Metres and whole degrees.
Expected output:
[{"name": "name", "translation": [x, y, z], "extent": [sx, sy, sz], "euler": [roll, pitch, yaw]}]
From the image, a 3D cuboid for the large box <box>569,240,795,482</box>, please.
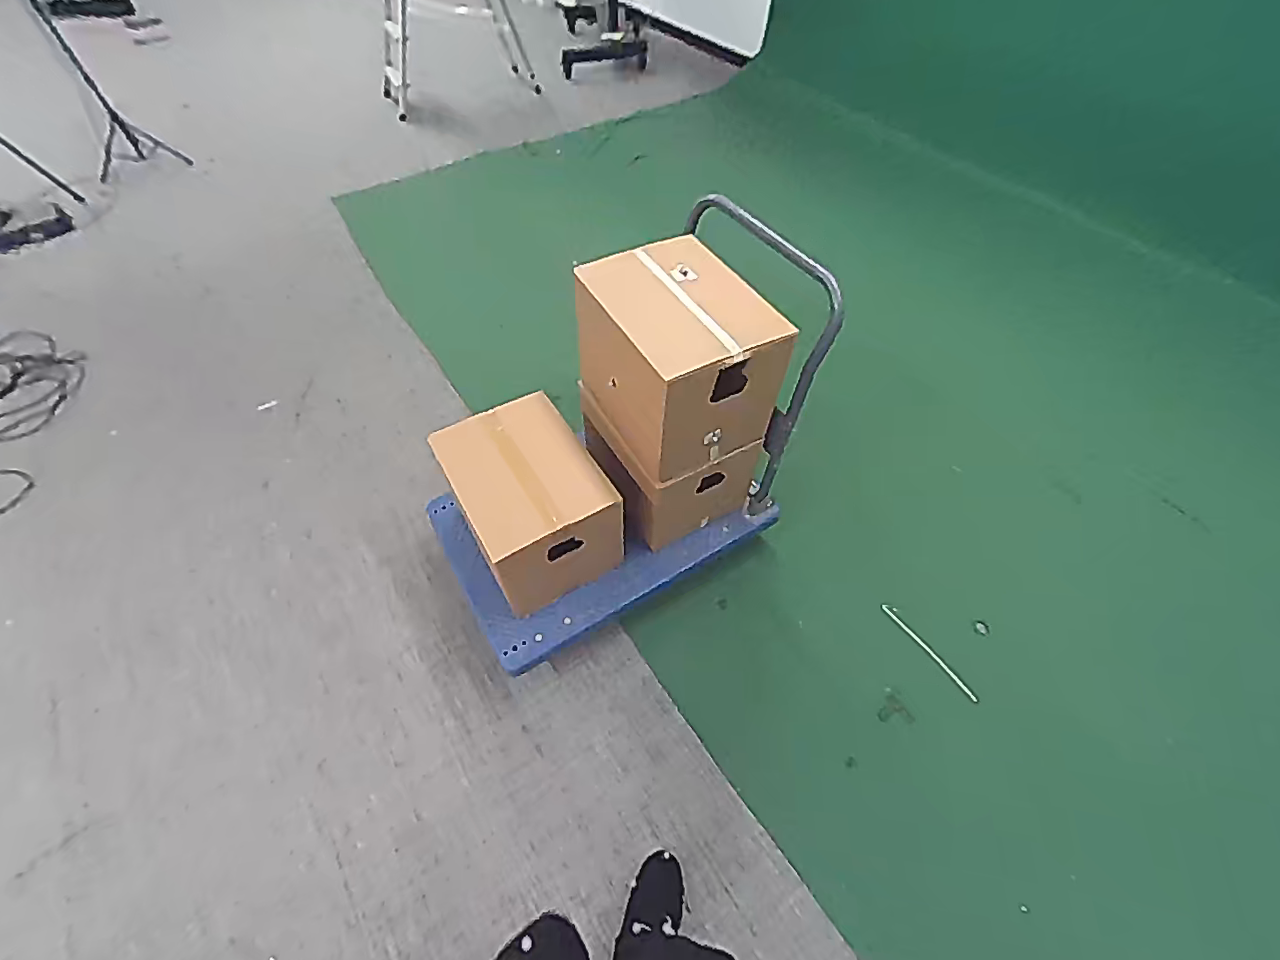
[{"name": "large box", "translation": [0.076, -0.274, 1.228], "extent": [0.320, 0.320, 0.408], "euler": [-23, 56, -18]}]
